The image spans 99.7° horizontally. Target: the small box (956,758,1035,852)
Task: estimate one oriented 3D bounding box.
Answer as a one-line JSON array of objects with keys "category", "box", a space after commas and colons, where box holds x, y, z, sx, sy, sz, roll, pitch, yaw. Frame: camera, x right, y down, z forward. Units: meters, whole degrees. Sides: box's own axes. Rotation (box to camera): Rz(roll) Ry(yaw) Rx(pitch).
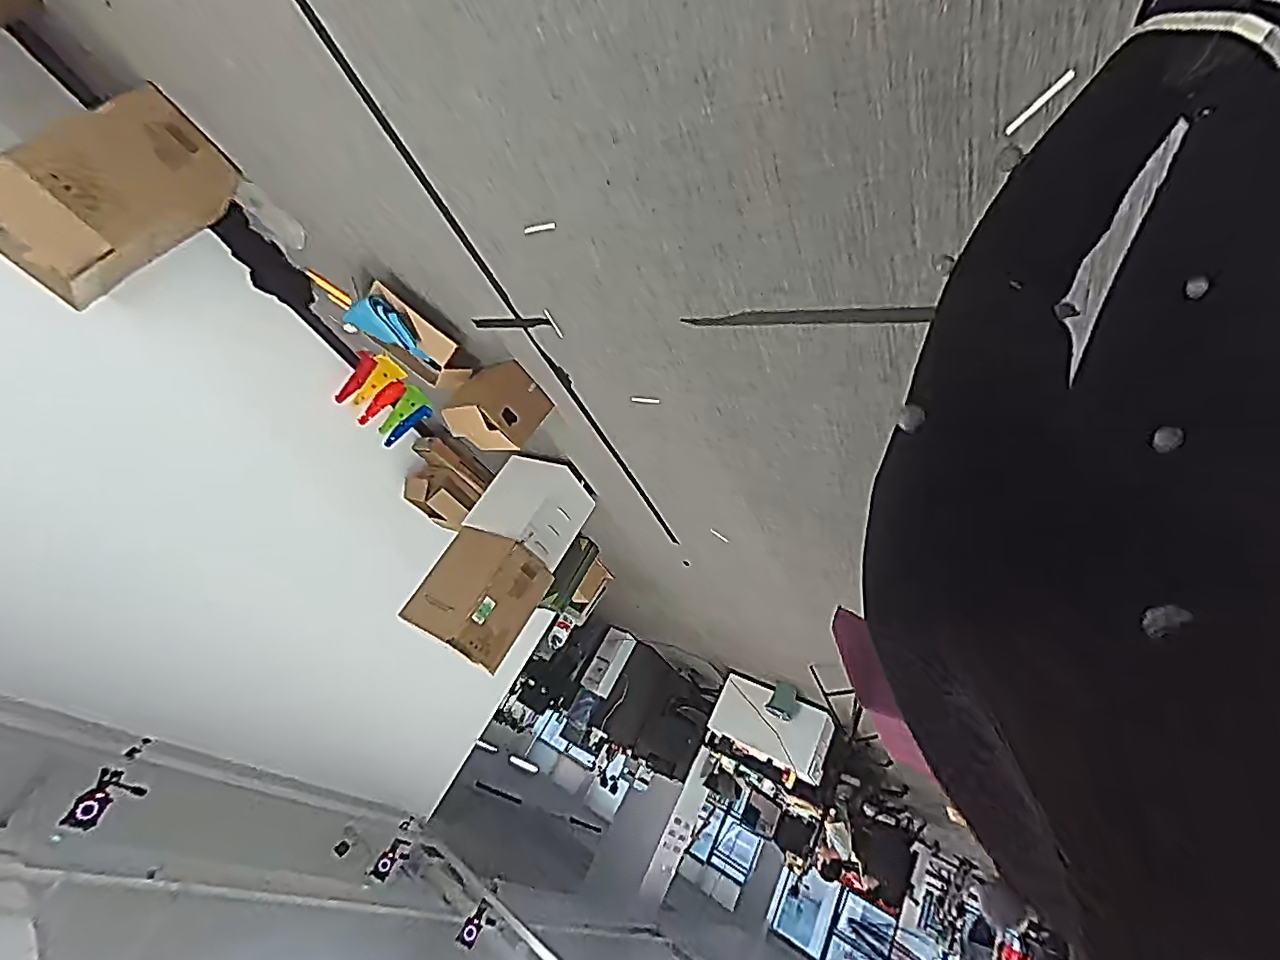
[{"category": "small box", "box": [1.055, 0.955, 1.599, 0.179, 0.176, 0.168, 7, 146, 40]}]
